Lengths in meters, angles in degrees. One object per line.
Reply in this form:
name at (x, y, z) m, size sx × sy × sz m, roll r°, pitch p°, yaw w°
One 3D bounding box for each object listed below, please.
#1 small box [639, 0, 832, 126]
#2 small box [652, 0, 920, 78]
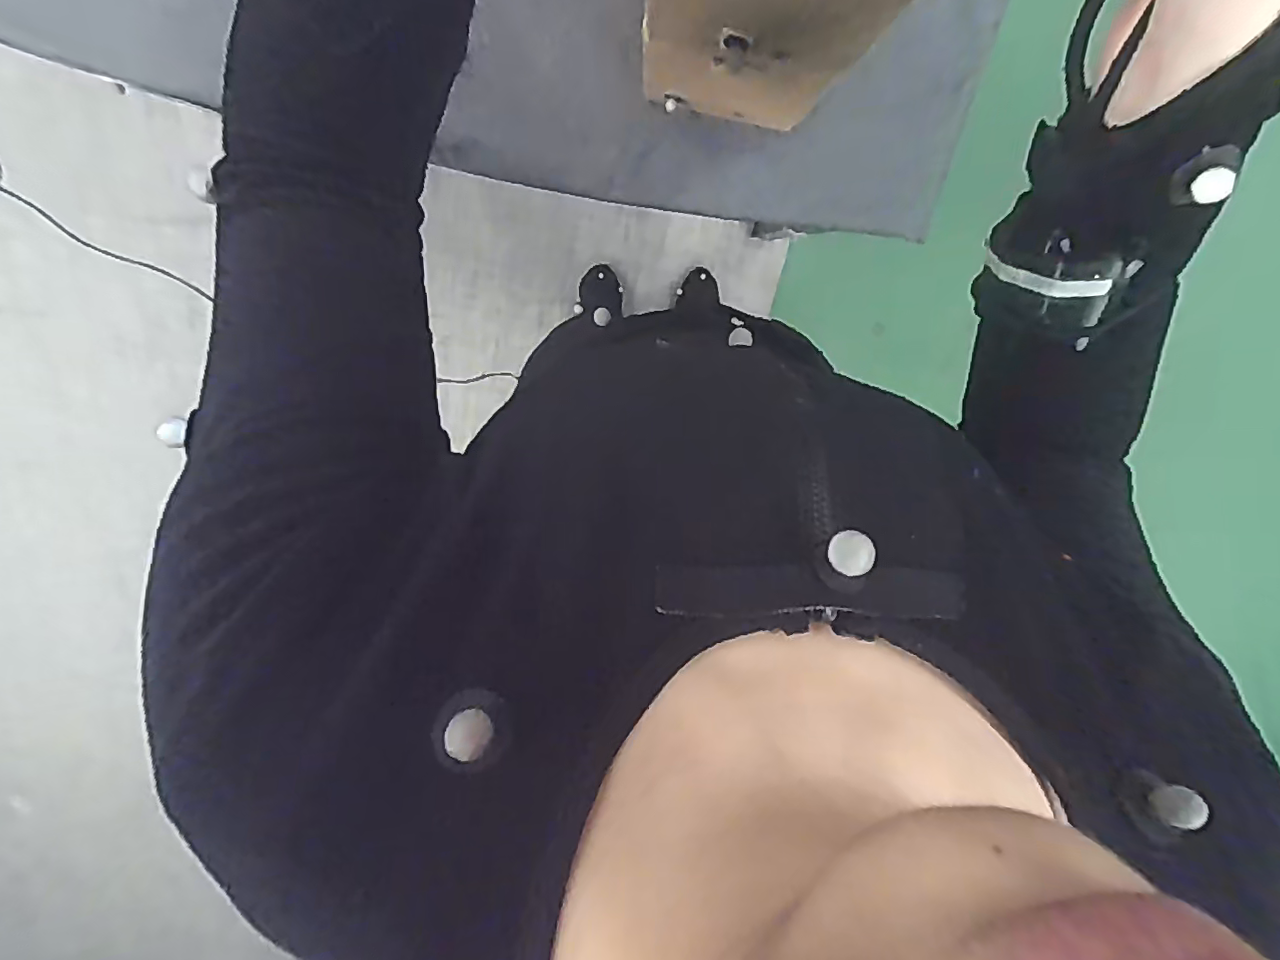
small box at (0.098, -0.447, 0.482) m, size 0.168 × 0.176 × 0.179 m, roll 11°, pitch 109°, yaw -3°
small box at (0.096, -0.387, 0.331) m, size 0.168 × 0.176 × 0.179 m, roll 7°, pitch 111°, yaw -1°
